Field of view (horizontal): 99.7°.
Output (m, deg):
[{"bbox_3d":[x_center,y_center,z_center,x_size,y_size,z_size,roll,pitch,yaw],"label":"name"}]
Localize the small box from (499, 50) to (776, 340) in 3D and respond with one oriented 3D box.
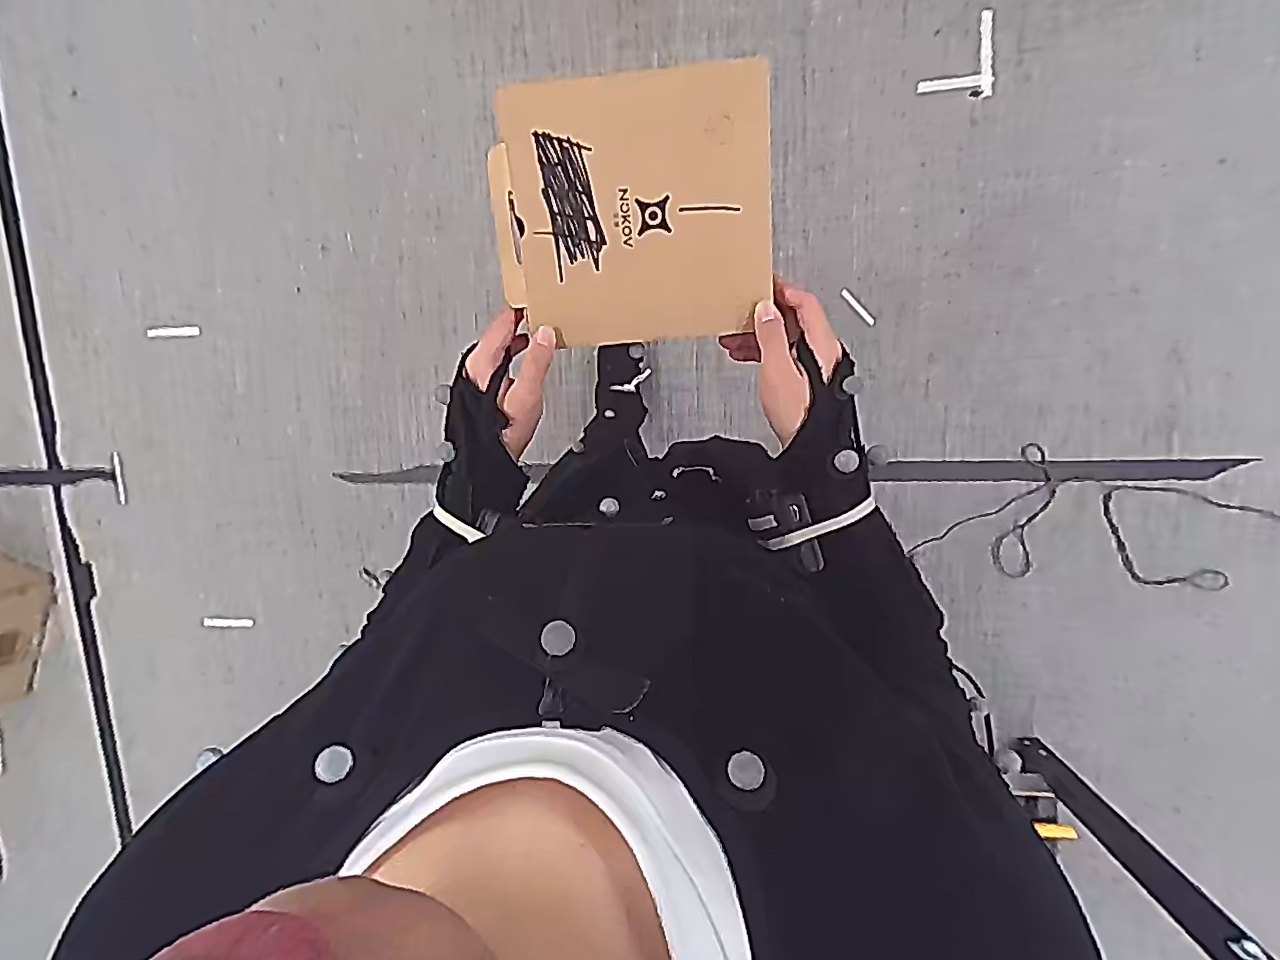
[{"bbox_3d":[0.006,-0.203,0.434,0.179,0.176,0.168,-4,107,3],"label":"small box"}]
